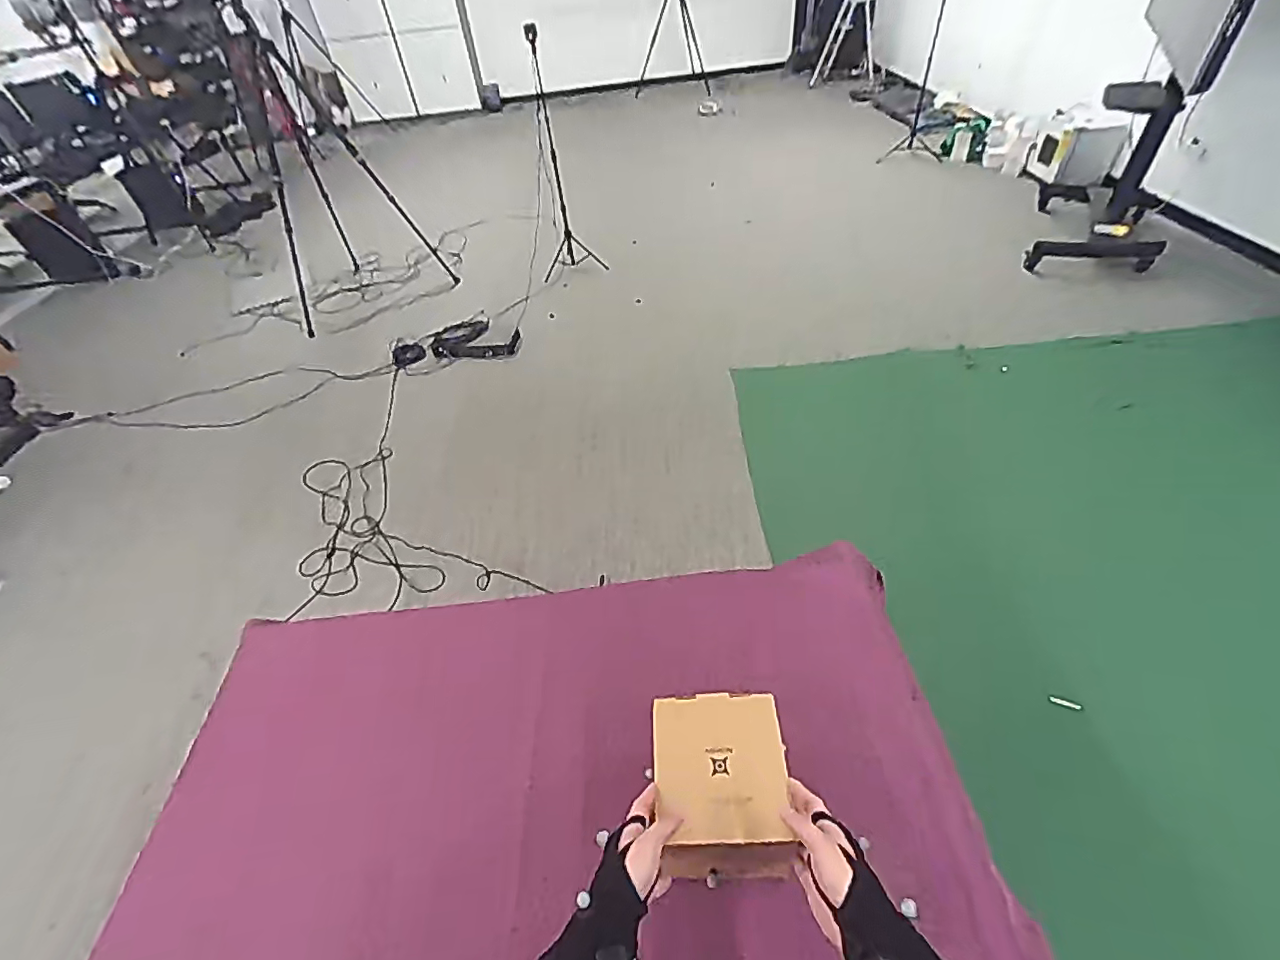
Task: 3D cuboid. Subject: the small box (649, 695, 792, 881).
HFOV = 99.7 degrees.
[{"bbox_3d":[0.099,0.414,0.730,0.168,0.176,0.179,-4,43,4],"label":"small box"}]
